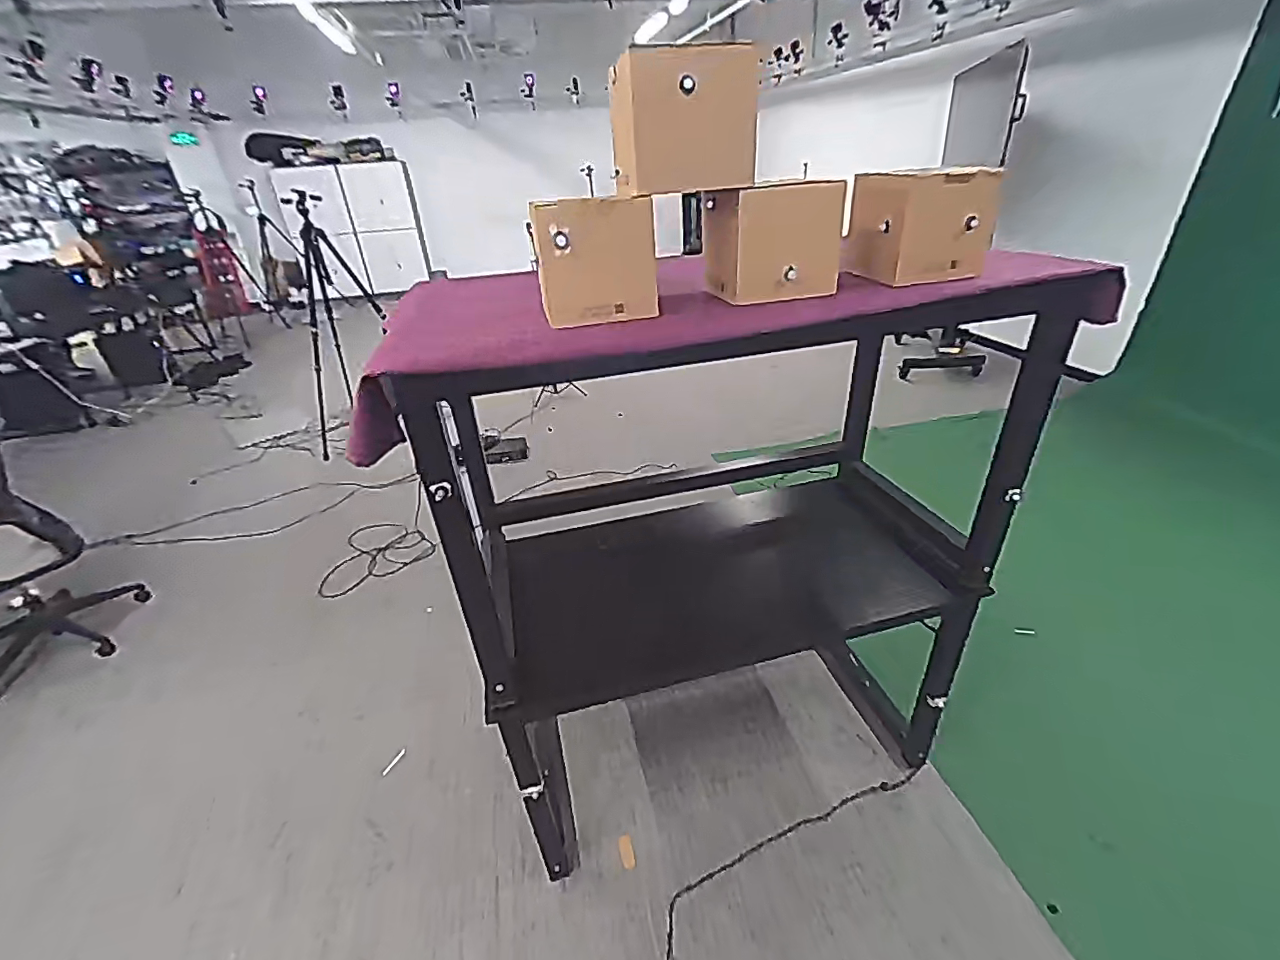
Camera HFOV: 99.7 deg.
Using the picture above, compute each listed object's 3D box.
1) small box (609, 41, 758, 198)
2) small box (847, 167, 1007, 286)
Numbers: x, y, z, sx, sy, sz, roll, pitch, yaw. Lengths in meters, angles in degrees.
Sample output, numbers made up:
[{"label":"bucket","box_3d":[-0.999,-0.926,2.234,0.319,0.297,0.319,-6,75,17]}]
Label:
[{"label":"small box","box_3d":[0.059,-0.509,0.785,0.179,0.176,0.168,-9,30,-9]},{"label":"small box","box_3d":[0.483,-0.439,0.940,0.168,0.176,0.179,-8,30,-7]}]
